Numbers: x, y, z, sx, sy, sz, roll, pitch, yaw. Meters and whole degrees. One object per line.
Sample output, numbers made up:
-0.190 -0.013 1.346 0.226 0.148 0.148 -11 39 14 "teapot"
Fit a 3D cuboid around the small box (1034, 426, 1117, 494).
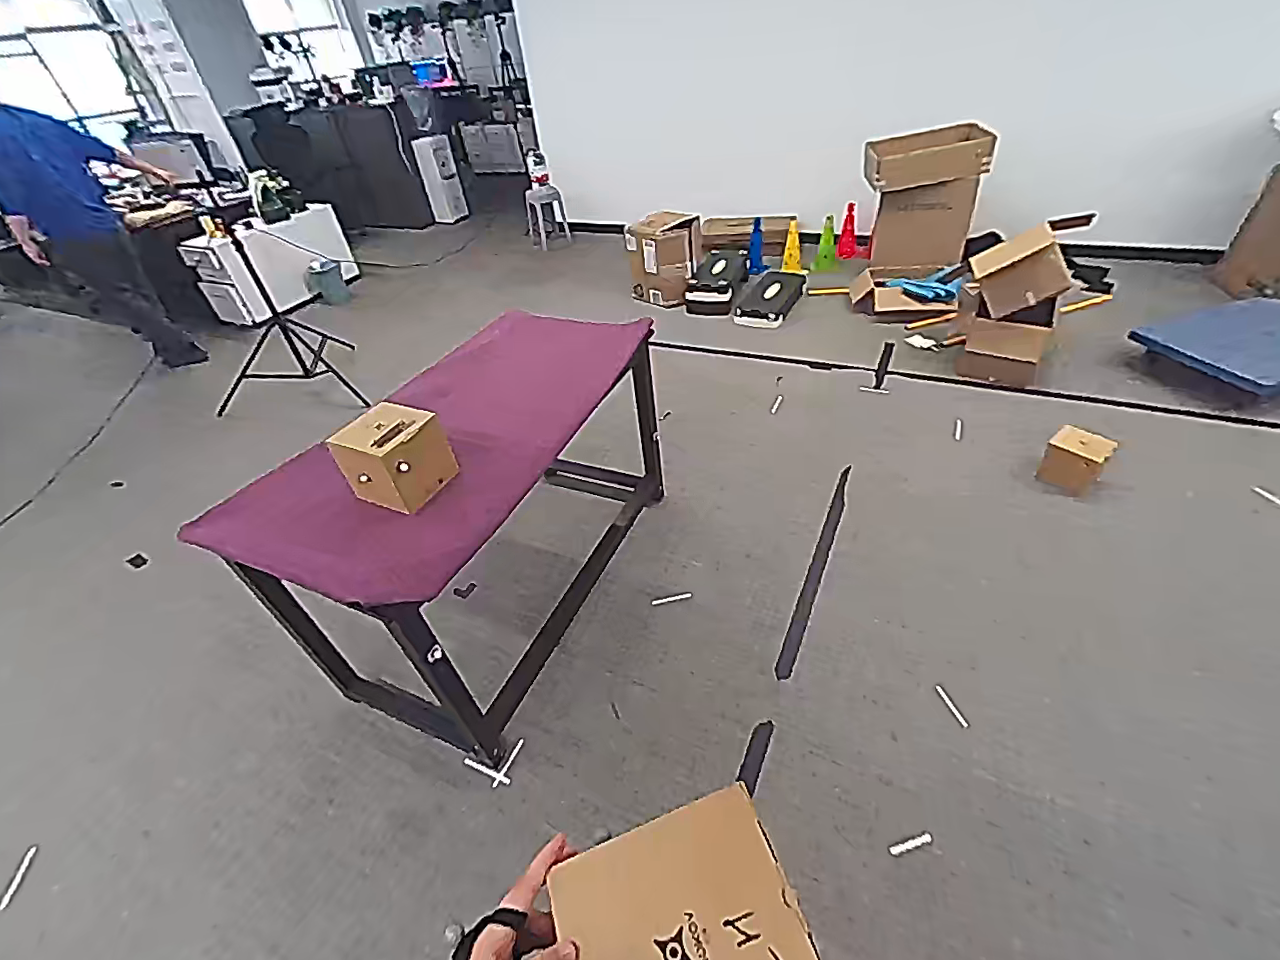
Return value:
1.659 -0.074 2.071 0.168 0.176 0.179 -31 46 -26 "small box"
